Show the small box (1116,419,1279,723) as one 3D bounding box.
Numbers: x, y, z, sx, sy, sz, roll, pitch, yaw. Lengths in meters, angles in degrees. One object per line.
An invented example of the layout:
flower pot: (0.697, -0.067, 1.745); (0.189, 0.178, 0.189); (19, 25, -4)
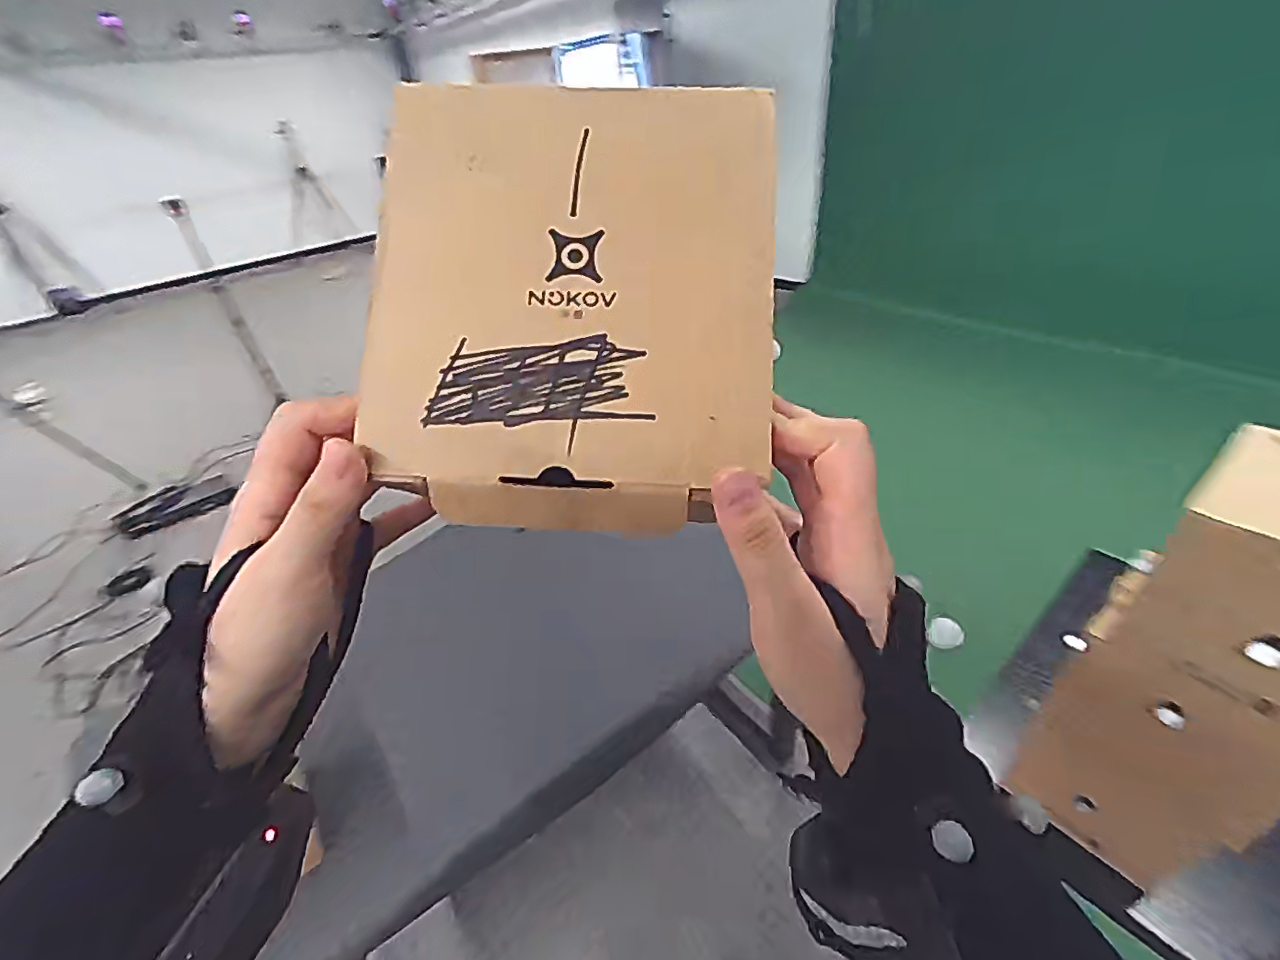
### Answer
small box: (0.539, 0.080, 0.441); (0.179, 0.176, 0.168); (-30, 41, -26)

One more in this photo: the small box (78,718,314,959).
small box: (-0.549, 0.458, 0.693); (0.179, 0.176, 0.168); (-31, 39, -28)

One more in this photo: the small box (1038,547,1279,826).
small box: (0.552, 0.207, 0.545); (0.168, 0.176, 0.179); (-30, 41, -27)

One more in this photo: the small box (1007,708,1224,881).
small box: (0.578, 0.328, 0.652); (0.179, 0.176, 0.168); (-30, 42, -28)

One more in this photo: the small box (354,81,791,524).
small box: (-0.021, -0.069, 0.293); (0.168, 0.179, 0.176); (3, -8, 3)
